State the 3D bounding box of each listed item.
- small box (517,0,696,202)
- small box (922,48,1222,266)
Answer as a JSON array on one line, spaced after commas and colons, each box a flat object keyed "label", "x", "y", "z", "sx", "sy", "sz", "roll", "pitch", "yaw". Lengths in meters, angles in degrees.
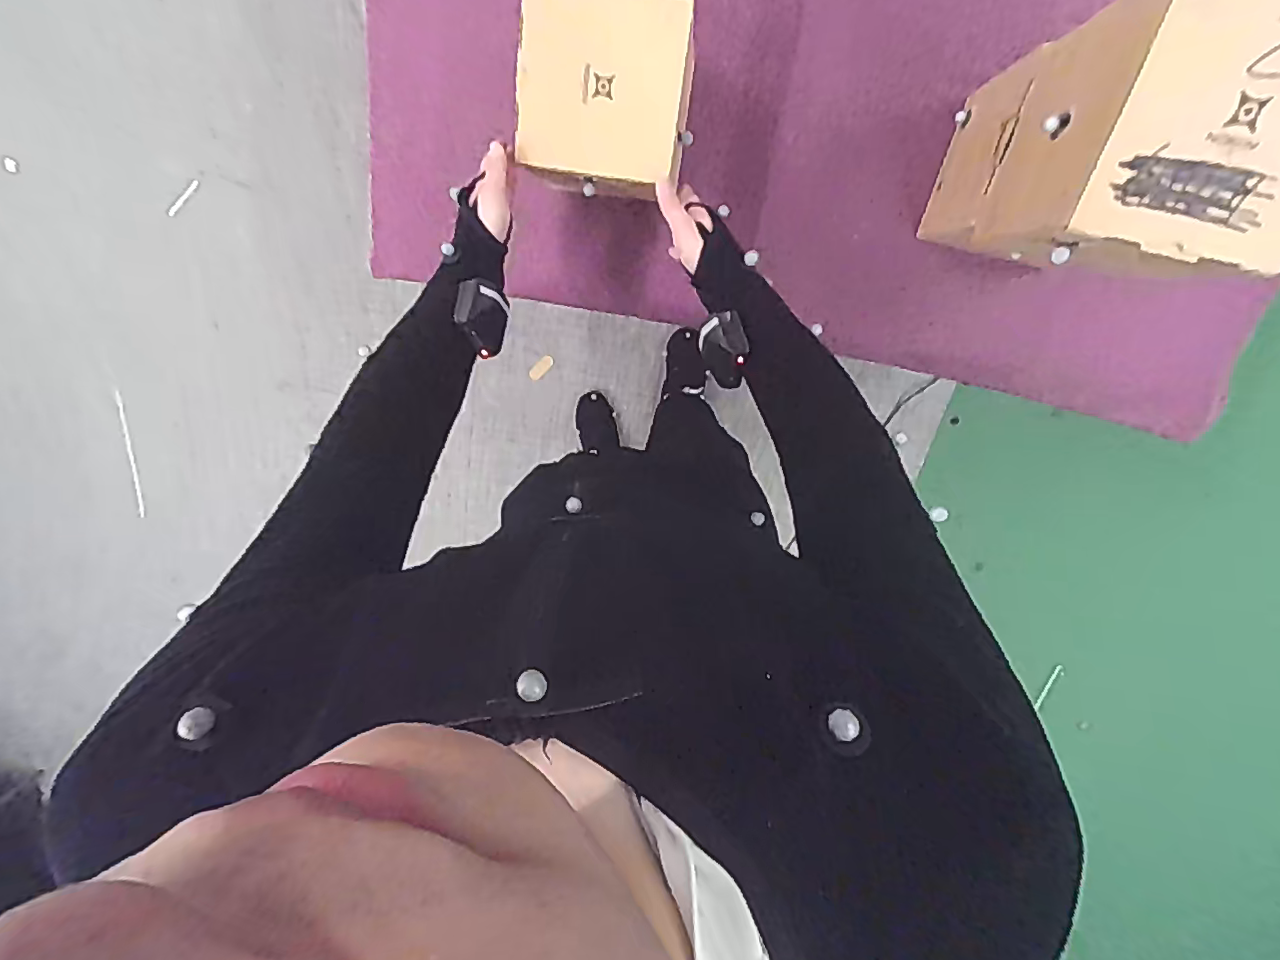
[{"label": "small box", "x": -0.032, "y": -0.435, "z": 0.638, "sx": 0.179, "sy": 0.176, "sz": 0.168, "roll": 10, "pitch": 112, "yaw": 3}, {"label": "small box", "x": 0.457, "y": -0.346, "z": 0.614, "sx": 0.179, "sy": 0.176, "sz": 0.168, "roll": 14, "pitch": 112, "yaw": 1}]
